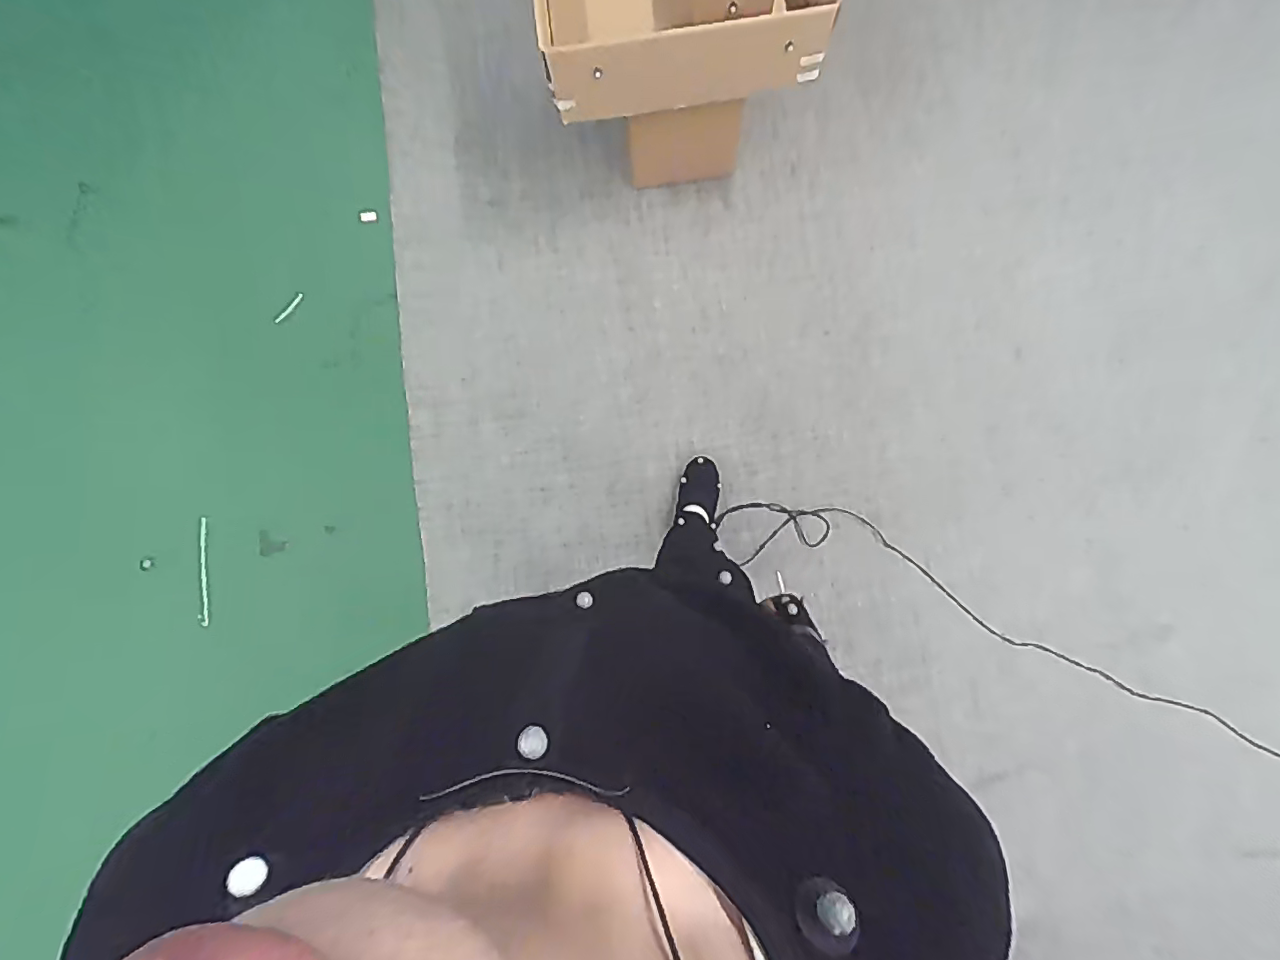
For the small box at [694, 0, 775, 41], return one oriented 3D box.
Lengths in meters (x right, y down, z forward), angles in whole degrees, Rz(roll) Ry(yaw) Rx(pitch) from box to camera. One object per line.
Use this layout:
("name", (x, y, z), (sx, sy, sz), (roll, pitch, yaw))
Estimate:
("small box", (0.202, -1.076, 1.147), (0.168, 0.176, 0.179), (-2, 83, 3))
